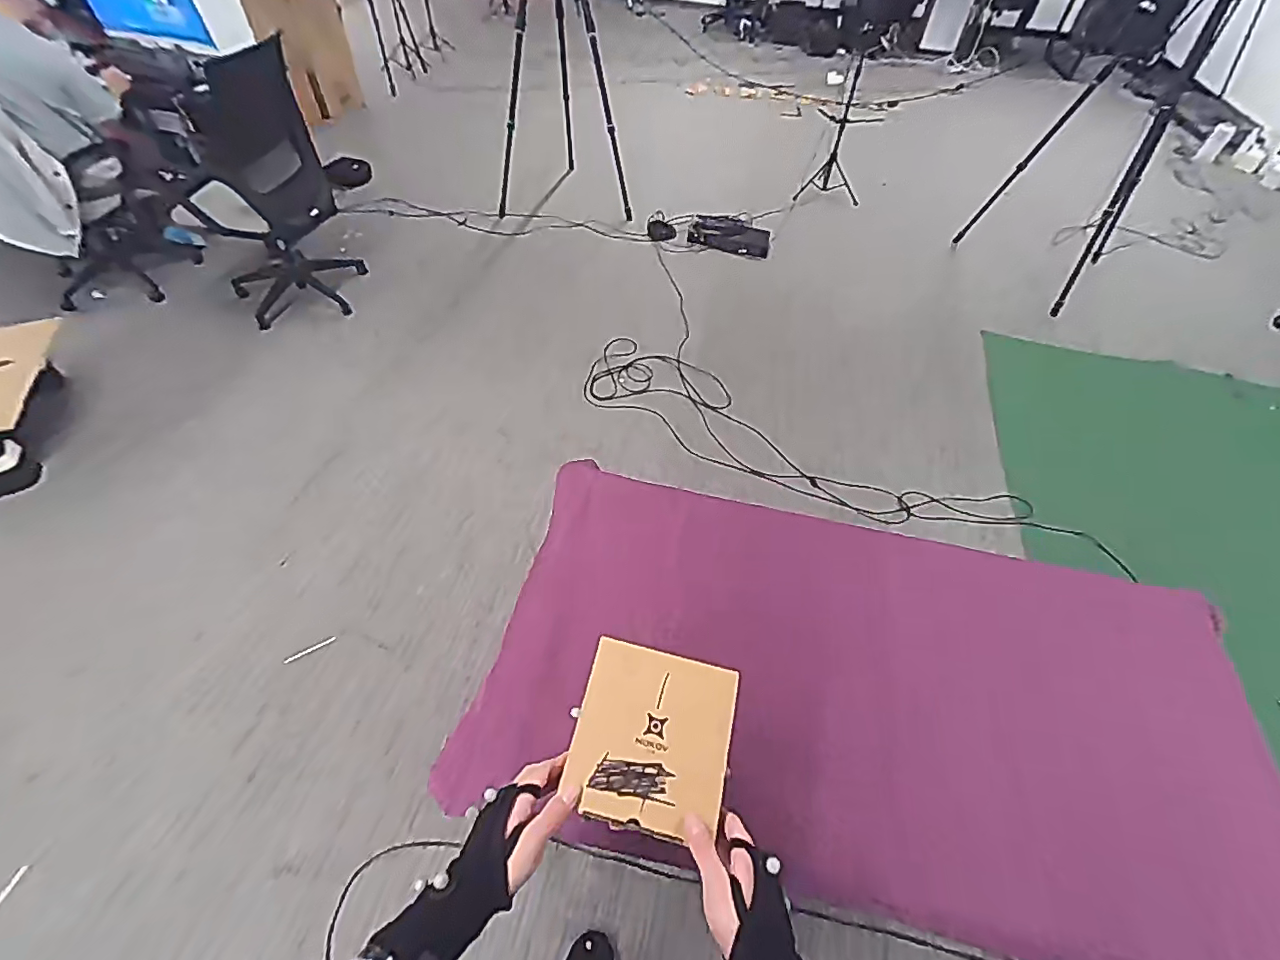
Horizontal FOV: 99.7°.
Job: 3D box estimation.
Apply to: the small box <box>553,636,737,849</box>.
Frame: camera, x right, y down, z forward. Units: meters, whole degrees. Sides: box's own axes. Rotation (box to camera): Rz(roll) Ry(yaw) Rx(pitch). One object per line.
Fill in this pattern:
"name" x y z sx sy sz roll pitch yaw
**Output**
"small box" 0.008 0.313 0.646 0.168 0.176 0.179 14 58 4
